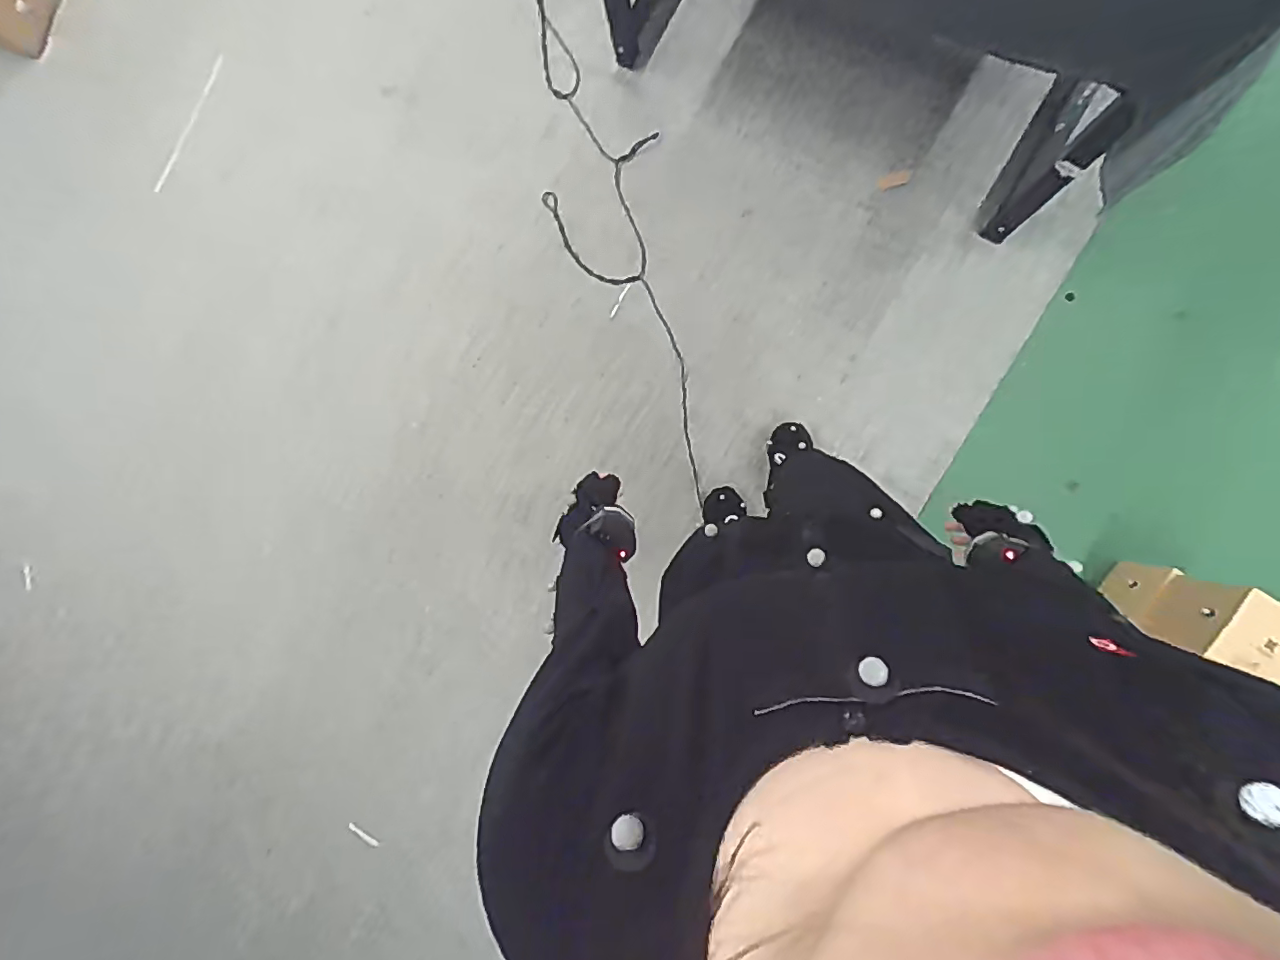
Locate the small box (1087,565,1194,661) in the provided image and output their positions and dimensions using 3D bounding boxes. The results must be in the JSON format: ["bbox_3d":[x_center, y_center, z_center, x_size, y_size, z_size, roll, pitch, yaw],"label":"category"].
[{"bbox_3d":[1.213,0.313,1.259,0.179,0.176,0.168,35,92,6],"label":"small box"}]

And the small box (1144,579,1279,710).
[{"bbox_3d":[1.197,0.320,1.095,0.168,0.176,0.179,34,92,7],"label":"small box"}]

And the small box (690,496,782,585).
[{"bbox_3d":[0.246,0.151,1.409,0.179,0.176,0.168,25,104,24],"label":"small box"}]
